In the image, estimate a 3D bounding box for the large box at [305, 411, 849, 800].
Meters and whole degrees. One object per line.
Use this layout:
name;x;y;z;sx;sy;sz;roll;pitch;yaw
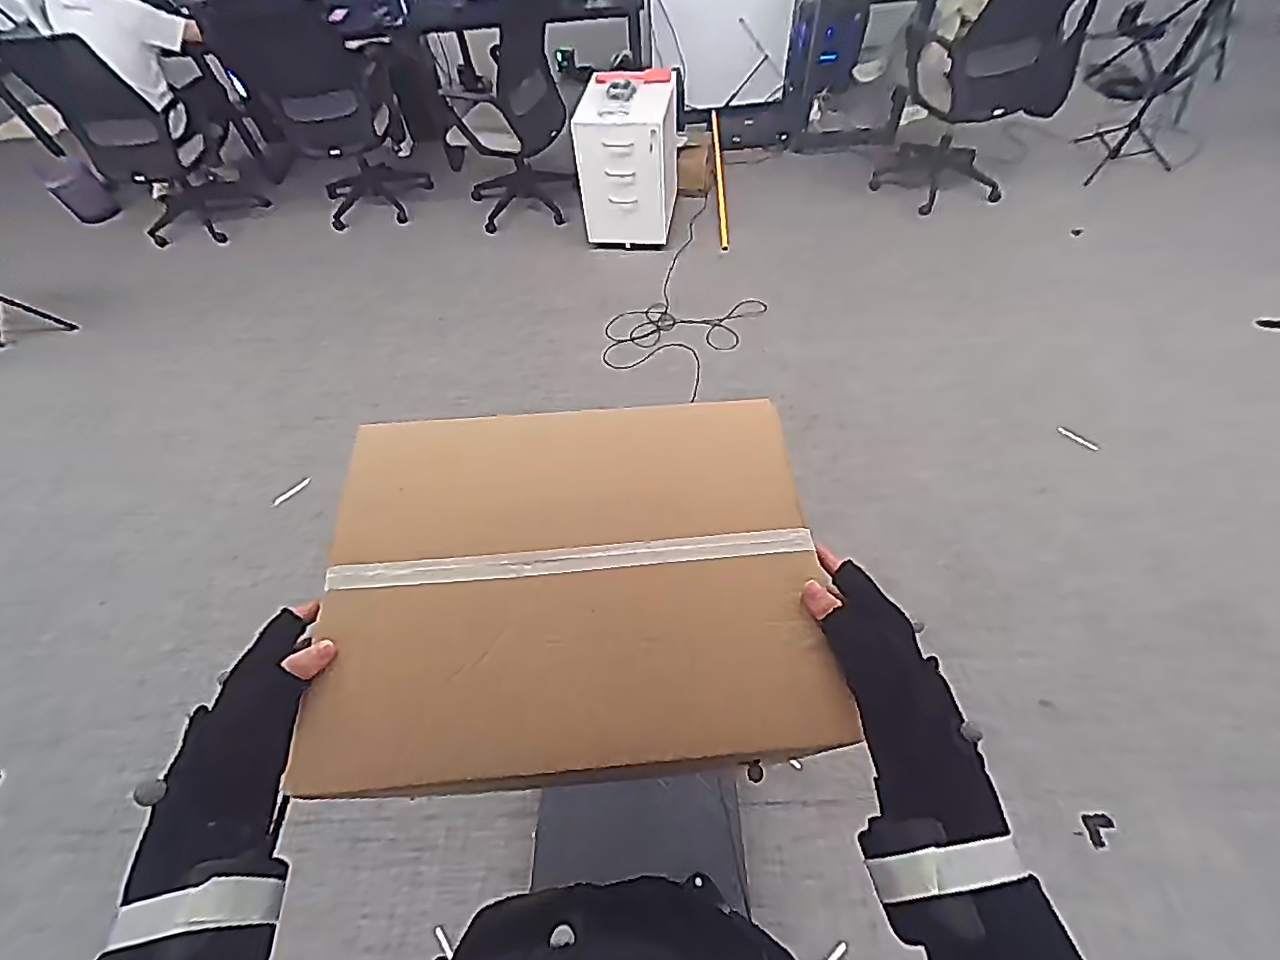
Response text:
large box;-0.054;0.149;0.592;0.408;0.320;0.320;-4;59;-3
